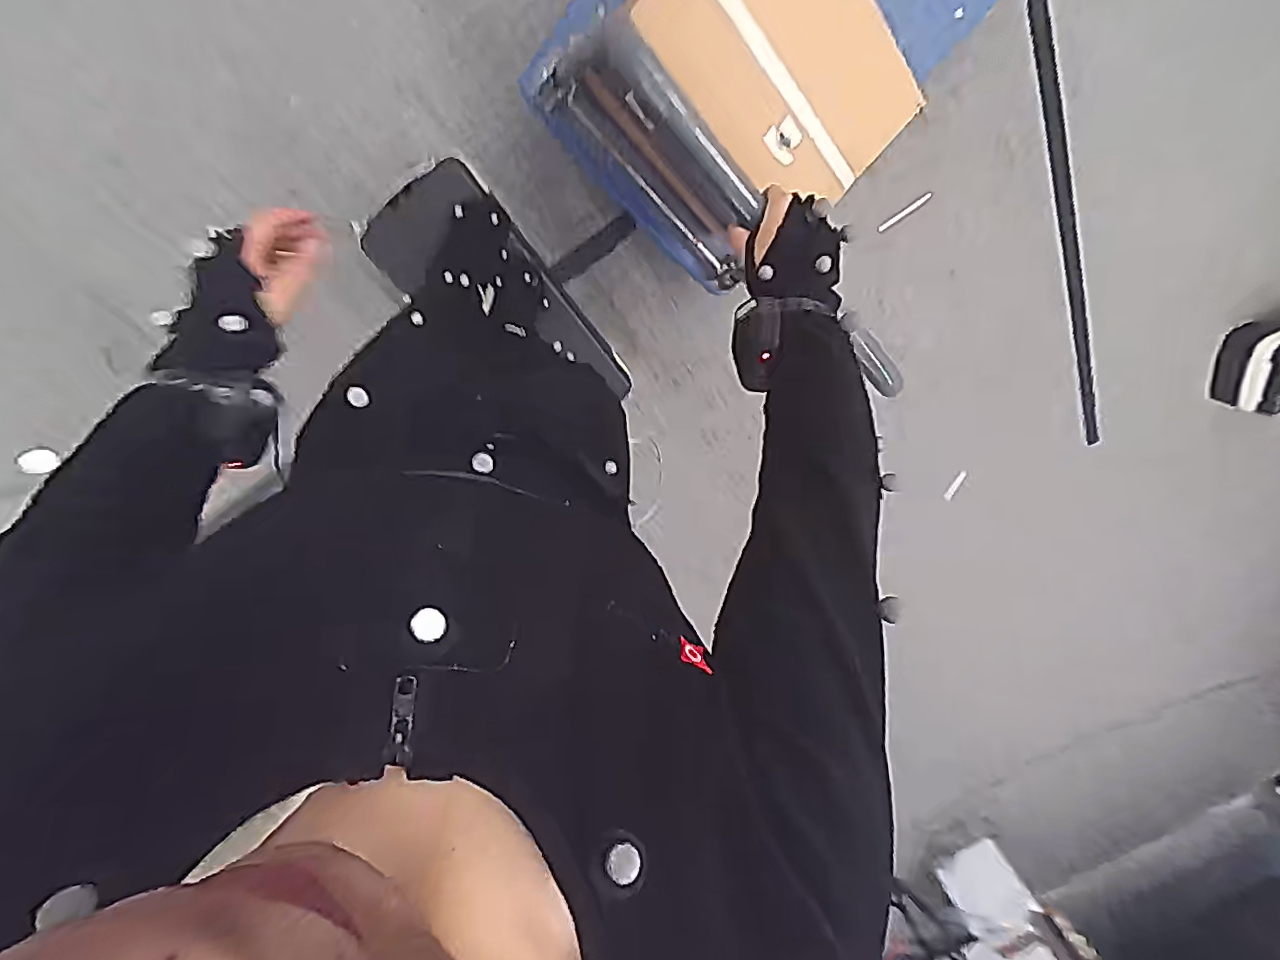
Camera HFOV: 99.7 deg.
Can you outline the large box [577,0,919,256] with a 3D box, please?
[{"bbox_3d":[0.159,-0.655,0.902,0.408,0.320,0.320,35,107,-31],"label":"large box"}]
